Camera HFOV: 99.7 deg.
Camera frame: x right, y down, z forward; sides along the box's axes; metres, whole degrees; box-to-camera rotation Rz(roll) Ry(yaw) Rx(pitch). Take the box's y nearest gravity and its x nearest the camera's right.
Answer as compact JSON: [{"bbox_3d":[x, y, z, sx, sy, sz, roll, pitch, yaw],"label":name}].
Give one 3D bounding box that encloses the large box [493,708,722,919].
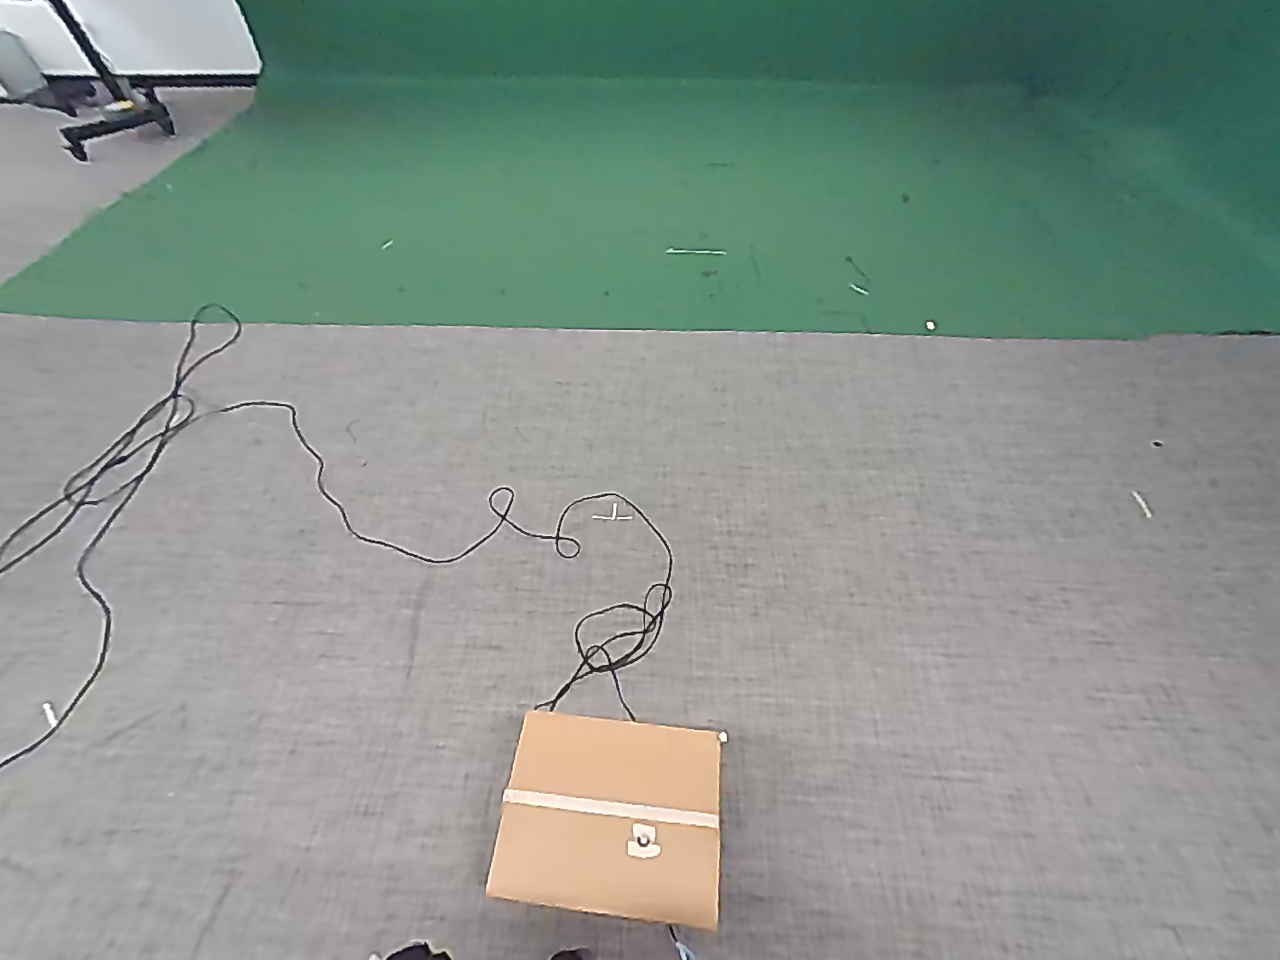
[{"bbox_3d":[-0.048,0.699,1.132,0.408,0.320,0.320,5,53,4],"label":"large box"}]
